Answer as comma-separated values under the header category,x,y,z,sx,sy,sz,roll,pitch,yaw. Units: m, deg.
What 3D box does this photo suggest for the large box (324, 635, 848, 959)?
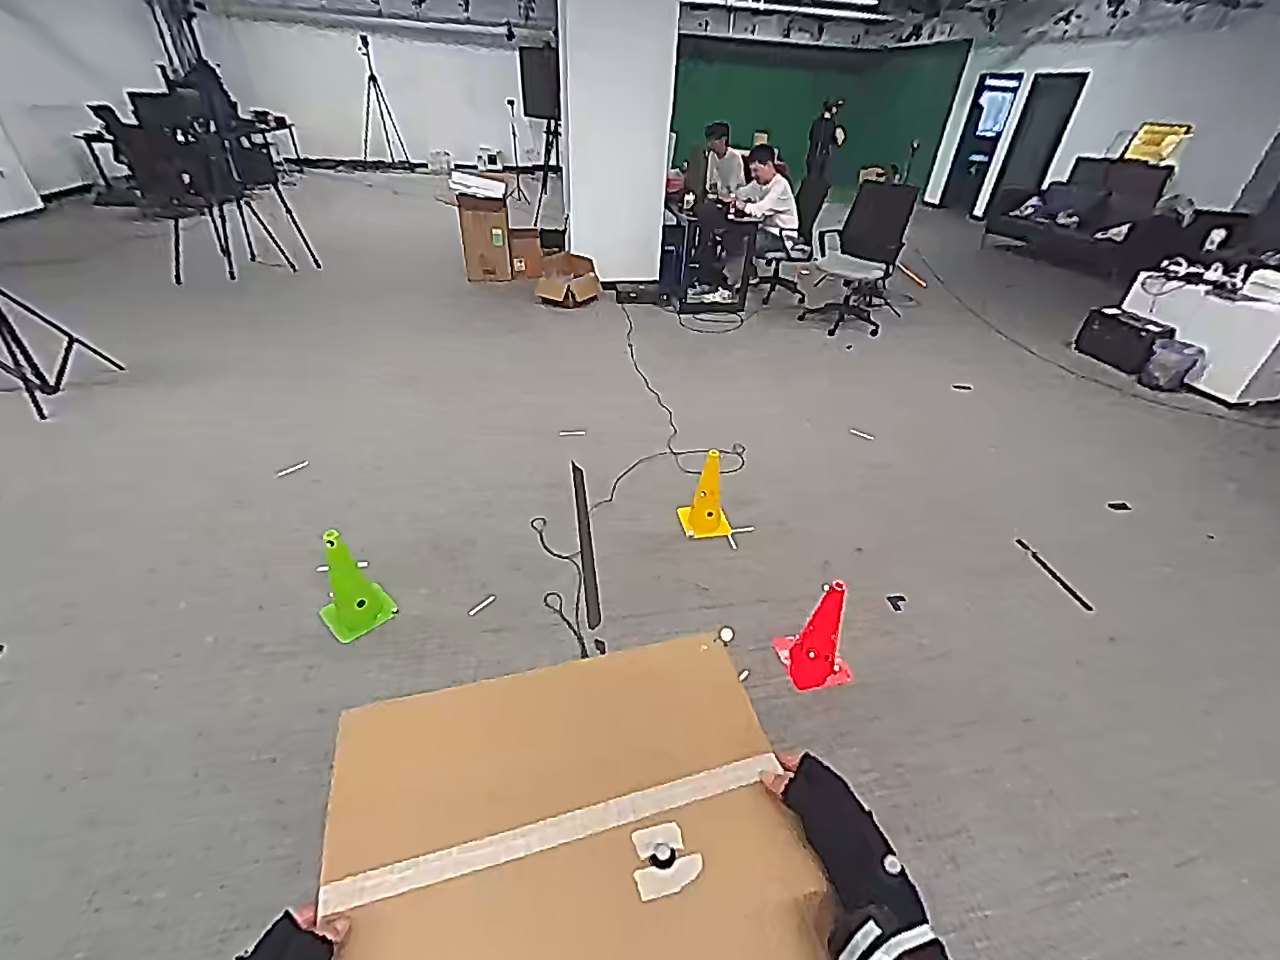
category,x,y,z,sx,sy,sz,roll,pitch,yaw
large box,-0.075,0.421,0.581,0.408,0.320,0.320,-7,43,-16

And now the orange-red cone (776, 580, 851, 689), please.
category,x,y,z,sx,sy,sz,roll,pitch,yaw
orange-red cone,0.576,0.451,1.681,0.198,0.360,0.199,-5,35,-12

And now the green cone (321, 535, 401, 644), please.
category,x,y,z,sx,sy,sz,roll,pitch,yaw
green cone,-0.954,0.320,1.759,0.200,0.368,0.202,29,44,33
